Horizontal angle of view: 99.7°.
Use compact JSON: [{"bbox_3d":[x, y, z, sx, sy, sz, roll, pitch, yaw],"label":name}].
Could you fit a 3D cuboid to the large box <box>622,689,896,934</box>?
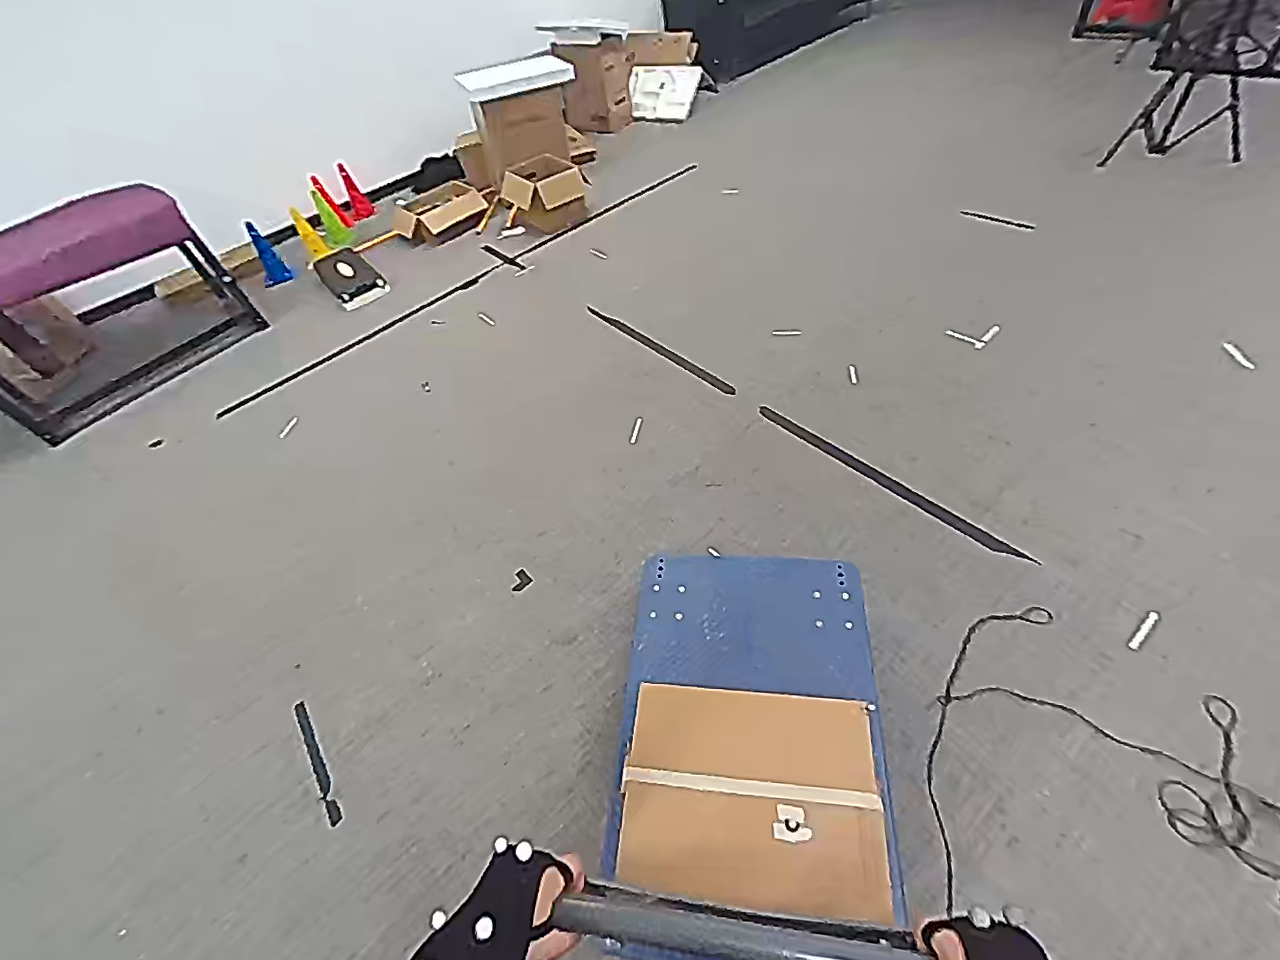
[{"bbox_3d":[0.200,0.607,0.996,0.408,0.320,0.320,1,50,10],"label":"large box"}]
